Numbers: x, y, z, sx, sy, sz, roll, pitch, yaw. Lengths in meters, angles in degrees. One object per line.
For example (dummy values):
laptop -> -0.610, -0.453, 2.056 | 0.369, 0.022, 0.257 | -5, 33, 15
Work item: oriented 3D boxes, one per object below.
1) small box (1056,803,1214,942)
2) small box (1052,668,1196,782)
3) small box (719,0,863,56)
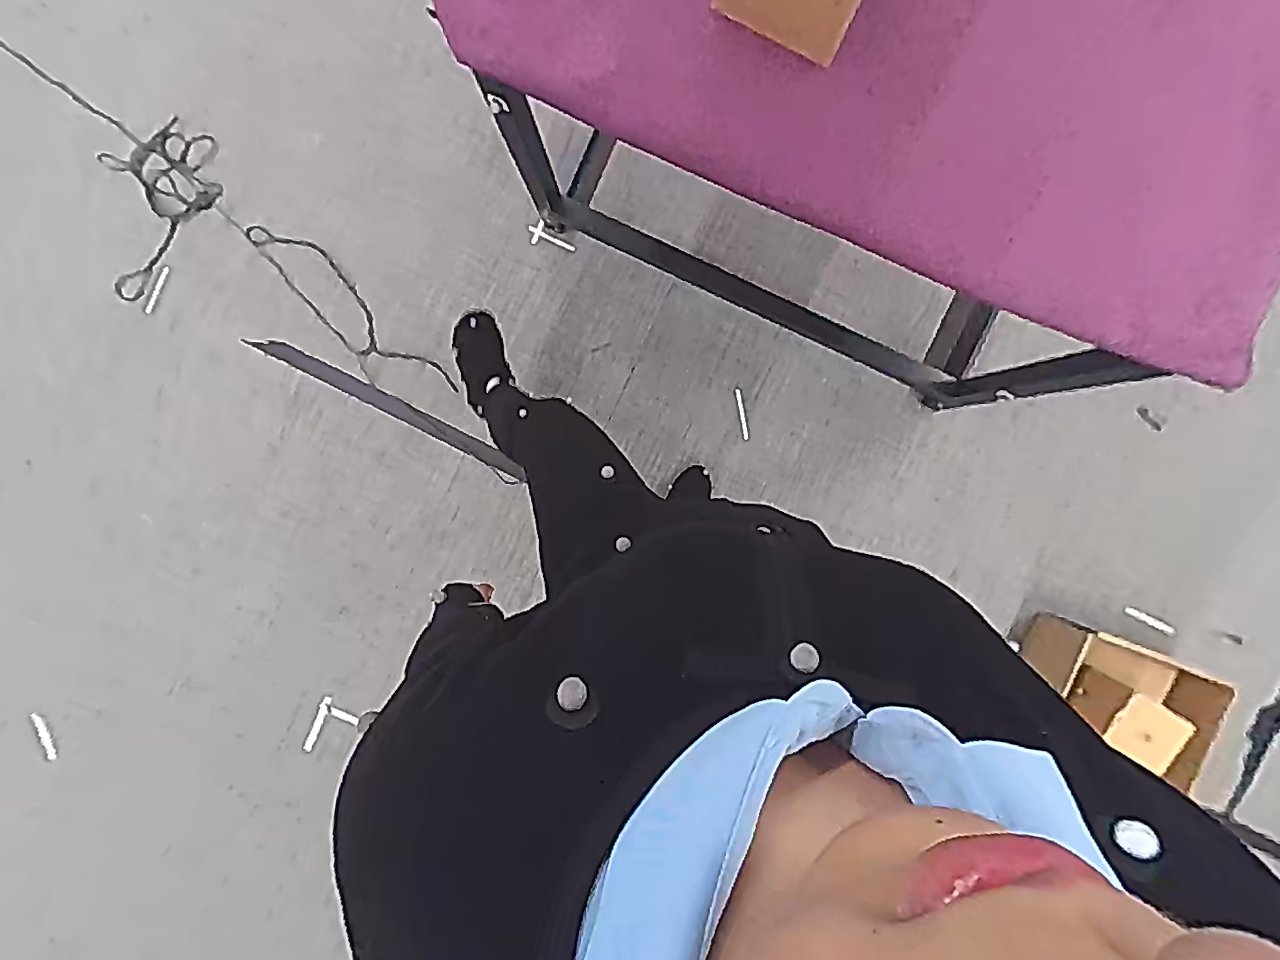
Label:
small box -> 1.110, 0.879, 1.230 | 0.179, 0.176, 0.168 | 22, 93, -2
small box -> 1.222, 0.613, 1.379 | 0.179, 0.176, 0.168 | 31, 95, -2
small box -> 0.213, -0.659, 0.638 | 0.179, 0.176, 0.168 | 27, 93, -1
